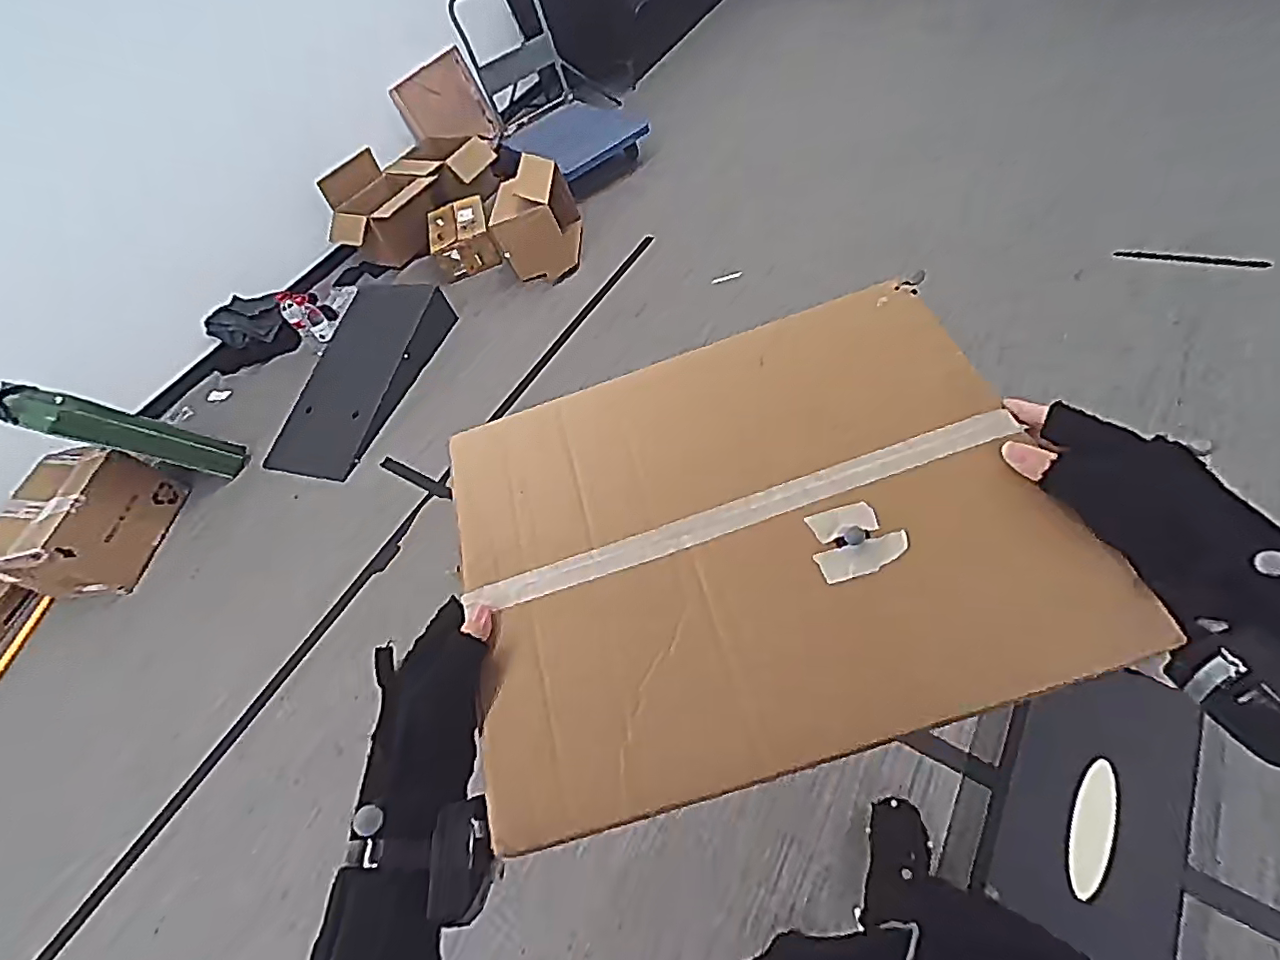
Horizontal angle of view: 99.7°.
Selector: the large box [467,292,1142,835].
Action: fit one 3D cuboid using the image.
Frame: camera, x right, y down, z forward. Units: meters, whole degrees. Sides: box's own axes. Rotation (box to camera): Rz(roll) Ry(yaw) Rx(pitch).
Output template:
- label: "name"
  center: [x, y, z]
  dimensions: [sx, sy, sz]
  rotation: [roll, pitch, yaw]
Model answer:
- label: "large box"
  center: [0.100, 0.096, 0.527]
  dimensions: [0.408, 0.320, 0.320]
  rotation: [-19, 61, 2]
